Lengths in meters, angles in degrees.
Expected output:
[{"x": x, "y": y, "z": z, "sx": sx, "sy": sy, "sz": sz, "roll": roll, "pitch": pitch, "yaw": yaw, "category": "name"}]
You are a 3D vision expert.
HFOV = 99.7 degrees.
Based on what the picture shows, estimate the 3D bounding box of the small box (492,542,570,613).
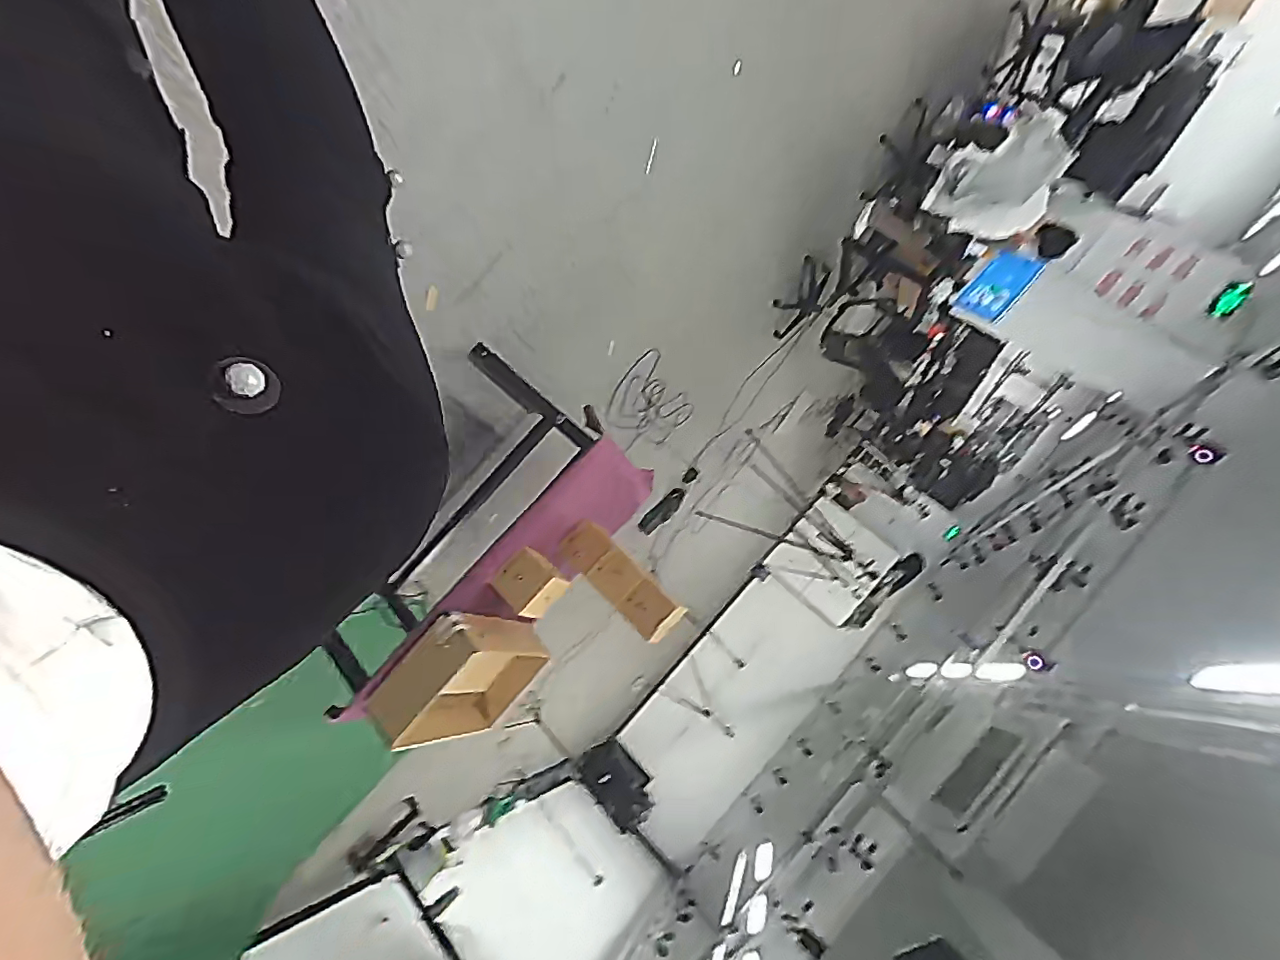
[{"x": -0.378, "y": 0.336, "z": 1.870, "sx": 0.168, "sy": 0.176, "sz": 0.179, "roll": -47, "pitch": 158, "yaw": -4, "category": "small box"}]

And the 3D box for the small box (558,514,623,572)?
[{"x": -0.190, "y": 0.253, "z": 2.091, "sx": 0.168, "sy": 0.176, "sz": 0.179, "roll": -47, "pitch": 157, "yaw": -3, "category": "small box"}]

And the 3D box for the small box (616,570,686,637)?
[{"x": 0.038, "y": 0.448, "z": 1.964, "sx": 0.168, "sy": 0.176, "sz": 0.179, "roll": -47, "pitch": 157, "yaw": -2, "category": "small box"}]

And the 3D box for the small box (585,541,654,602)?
[{"x": -0.077, "y": 0.347, "z": 2.024, "sx": 0.168, "sy": 0.176, "sz": 0.179, "roll": -48, "pitch": 157, "yaw": -3, "category": "small box"}]
